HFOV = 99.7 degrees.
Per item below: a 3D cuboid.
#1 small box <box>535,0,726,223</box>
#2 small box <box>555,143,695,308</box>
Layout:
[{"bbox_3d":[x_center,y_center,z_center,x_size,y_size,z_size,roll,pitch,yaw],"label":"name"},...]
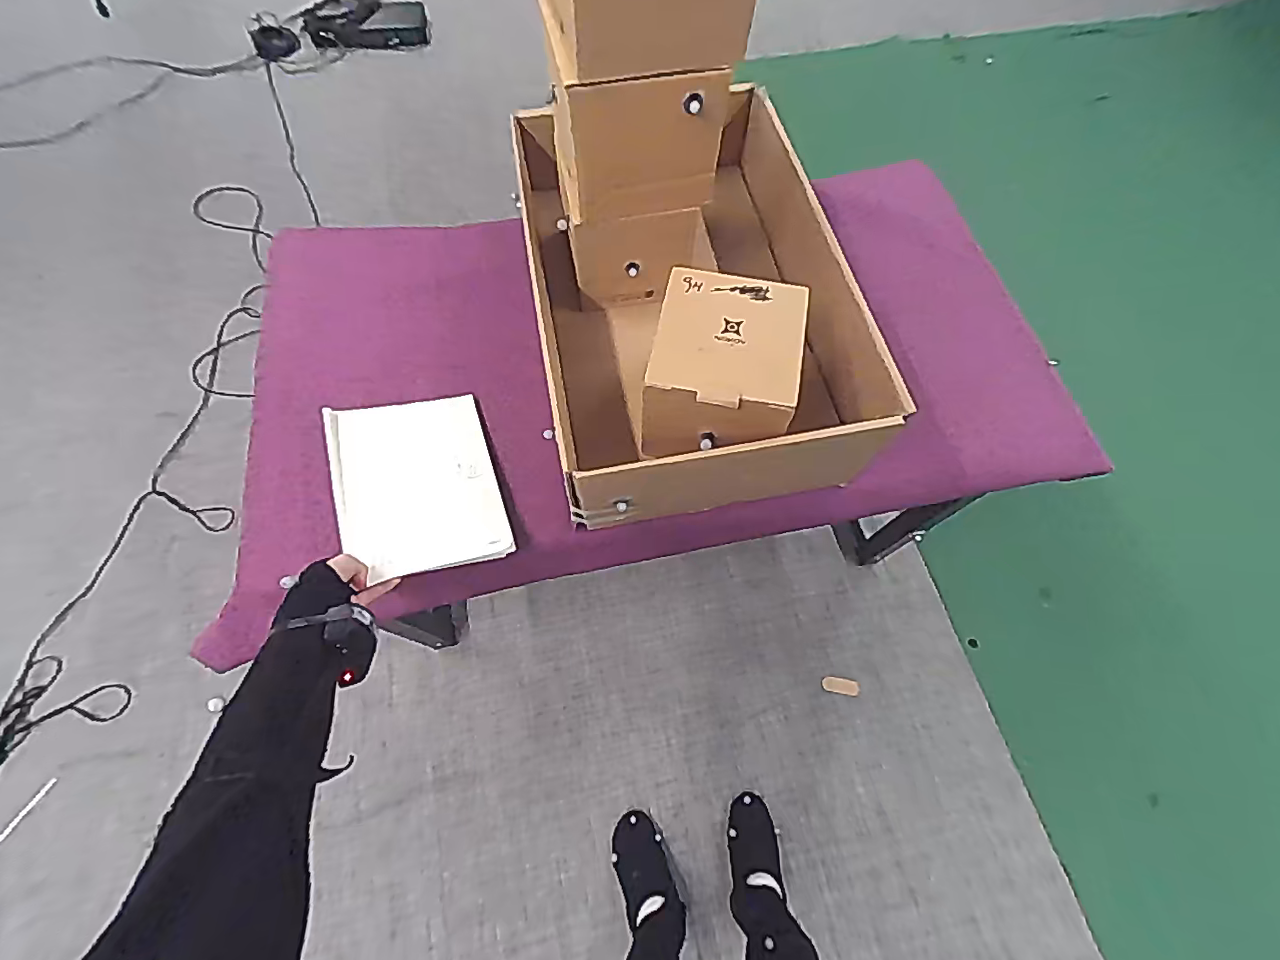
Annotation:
[{"bbox_3d":[-0.014,-0.434,0.643,0.179,0.176,0.168,-12,68,-7],"label":"small box"},{"bbox_3d":[-0.024,-0.372,0.792,0.168,0.176,0.179,-10,68,-6],"label":"small box"}]
